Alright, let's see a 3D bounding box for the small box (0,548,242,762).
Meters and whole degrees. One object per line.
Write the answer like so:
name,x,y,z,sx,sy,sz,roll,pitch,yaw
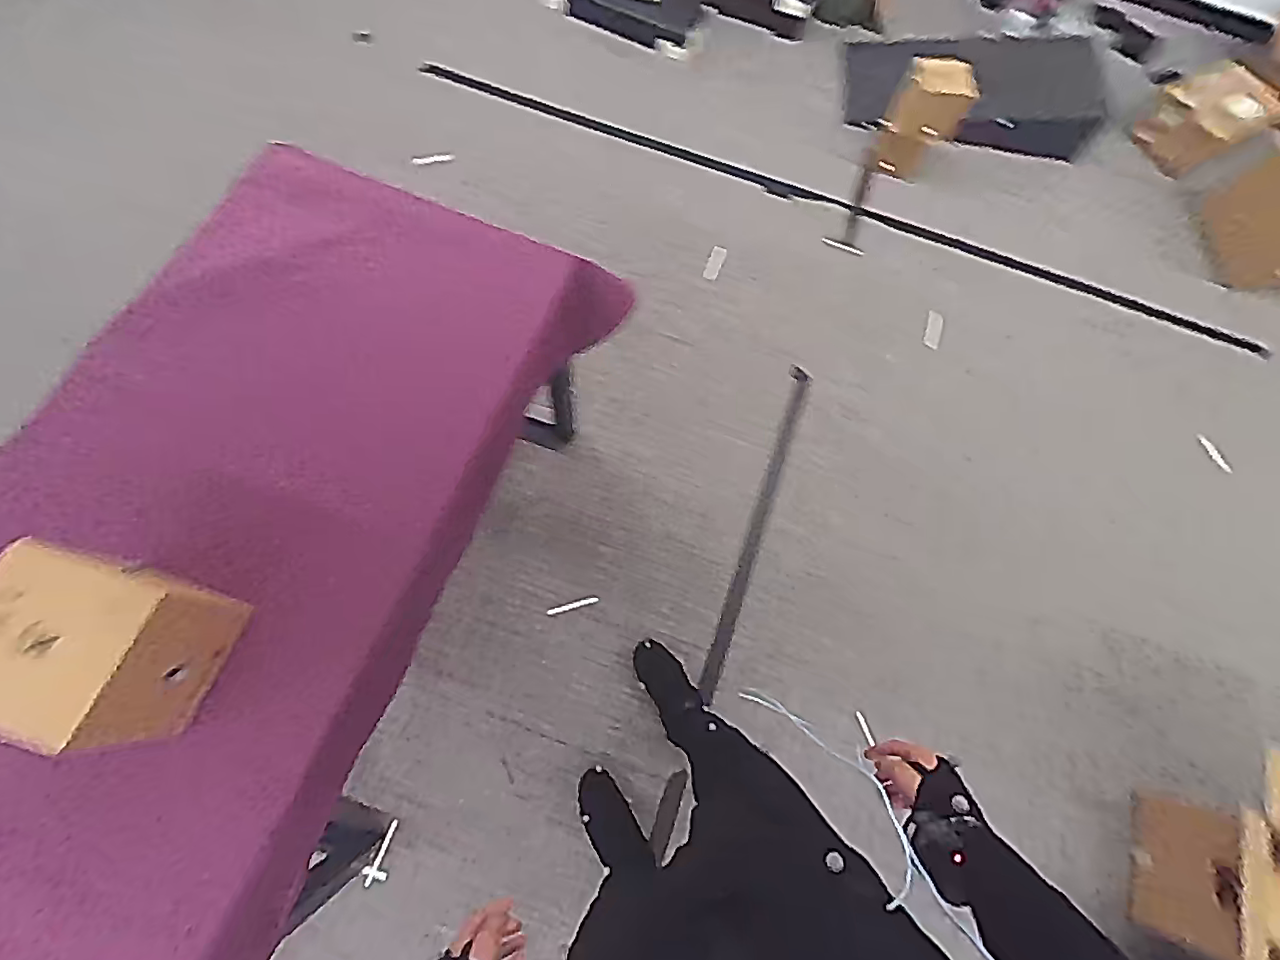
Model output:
small box,-0.616,0.195,0.617,0.179,0.176,0.168,19,70,2
